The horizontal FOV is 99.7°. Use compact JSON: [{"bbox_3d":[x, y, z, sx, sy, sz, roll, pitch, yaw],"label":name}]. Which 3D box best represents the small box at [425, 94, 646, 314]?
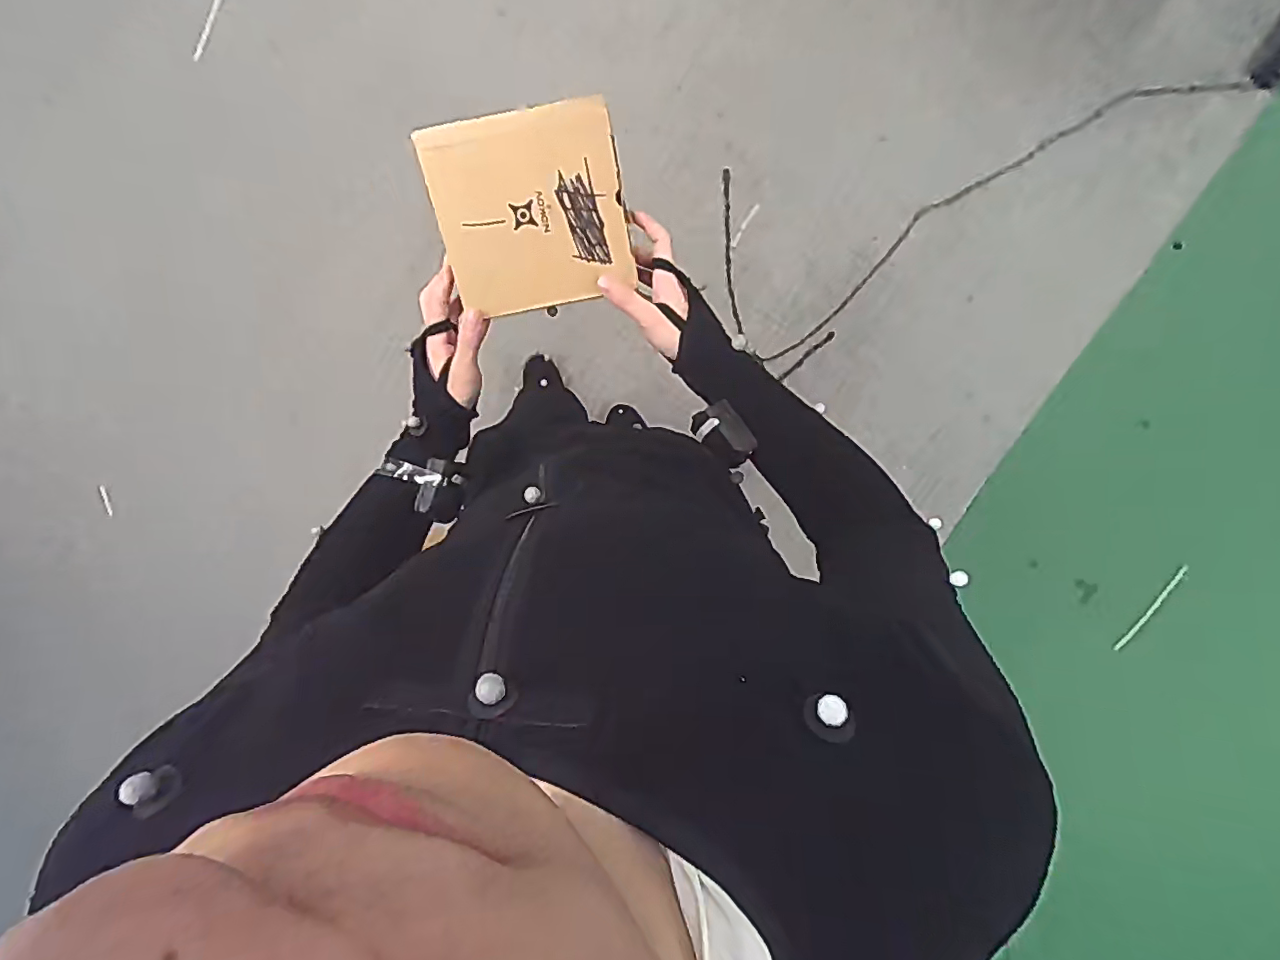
[{"bbox_3d":[-0.098,-0.281,0.572,0.179,0.176,0.168,-10,113,-1],"label":"small box"}]

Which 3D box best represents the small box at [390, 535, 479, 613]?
[{"bbox_3d":[-0.604,0.290,1.619,0.168,0.176,0.179,30,100,-3],"label":"small box"}]
